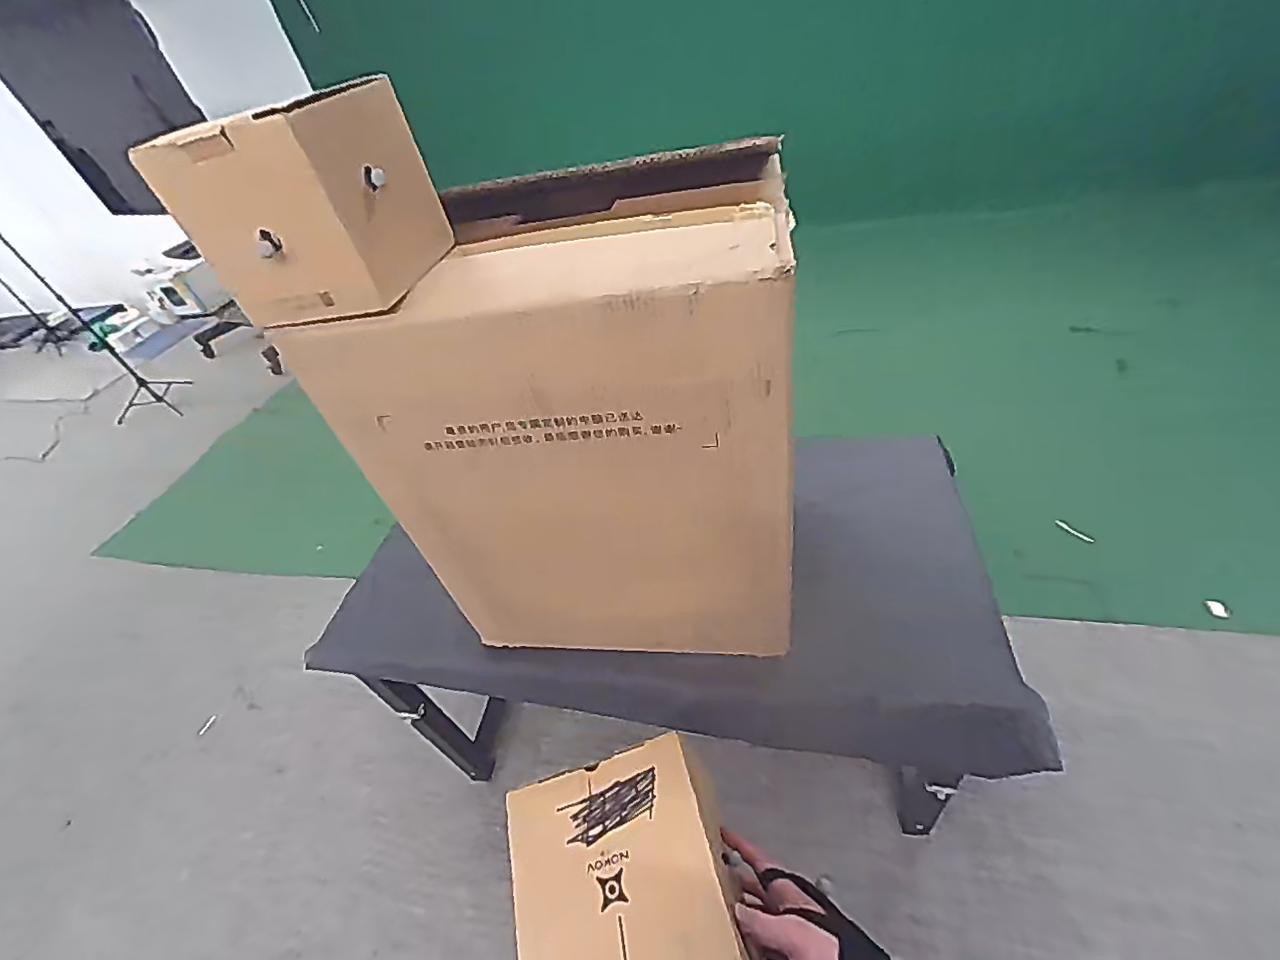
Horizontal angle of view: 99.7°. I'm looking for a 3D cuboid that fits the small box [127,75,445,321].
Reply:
[{"bbox_3d":[-0.327,-0.274,0.548,0.168,0.176,0.179,-3,44,14],"label":"small box"}]
